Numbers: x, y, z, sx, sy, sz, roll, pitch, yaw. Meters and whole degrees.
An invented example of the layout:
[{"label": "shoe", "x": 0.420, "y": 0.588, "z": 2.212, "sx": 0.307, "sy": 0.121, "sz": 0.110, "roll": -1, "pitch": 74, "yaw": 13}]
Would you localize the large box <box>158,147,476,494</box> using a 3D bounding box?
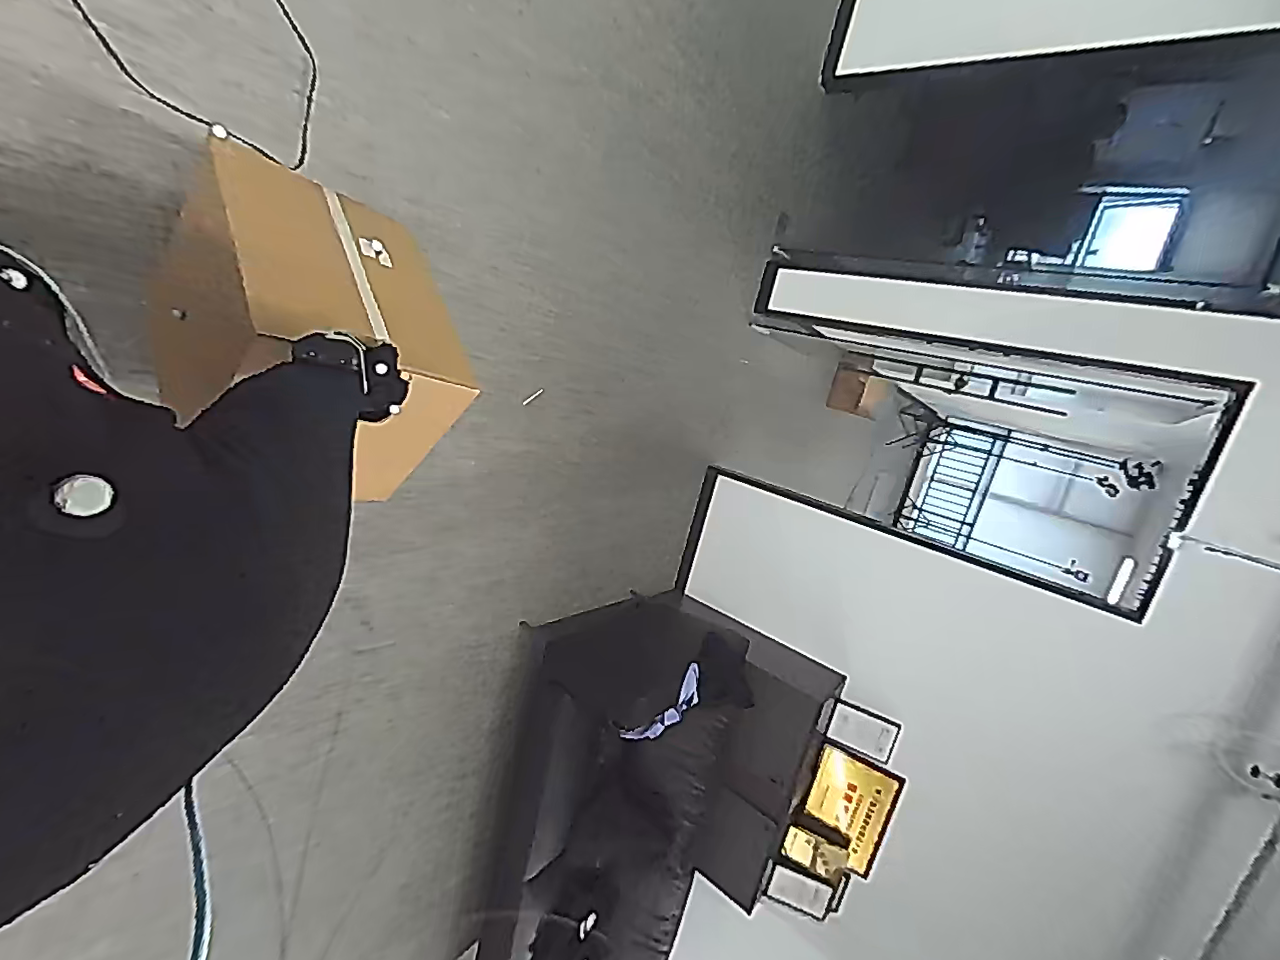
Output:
[{"label": "large box", "x": -0.539, "y": -0.223, "z": 0.889, "sx": 0.320, "sy": 0.408, "sz": 0.320, "roll": -41, "pitch": 154, "yaw": 26}]
